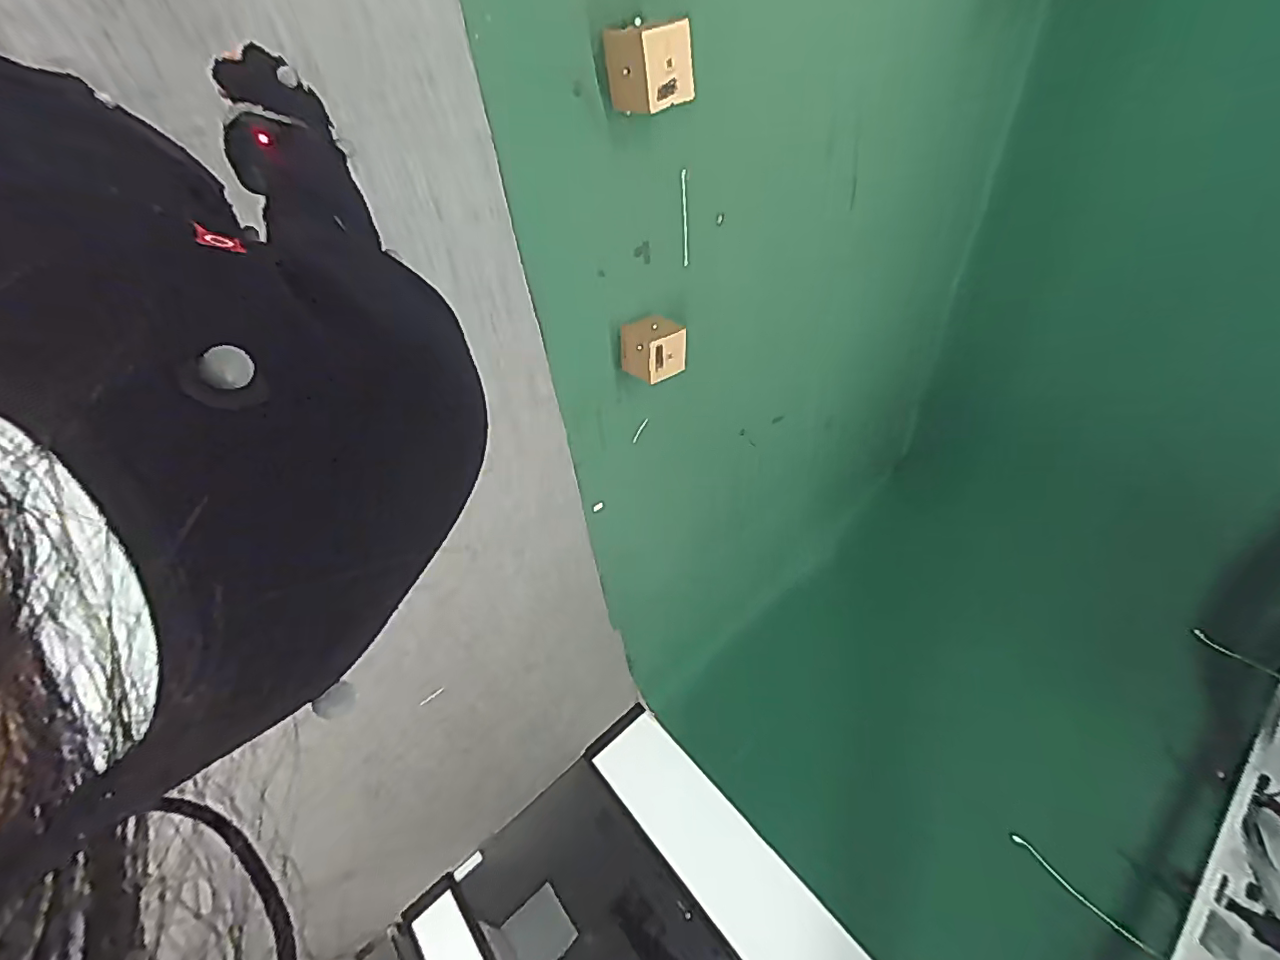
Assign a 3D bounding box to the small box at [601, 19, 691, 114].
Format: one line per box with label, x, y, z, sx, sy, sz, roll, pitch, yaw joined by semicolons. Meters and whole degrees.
small box;0.016;-1.116;1.459;0.168;0.176;0.179;-35;138;-23
